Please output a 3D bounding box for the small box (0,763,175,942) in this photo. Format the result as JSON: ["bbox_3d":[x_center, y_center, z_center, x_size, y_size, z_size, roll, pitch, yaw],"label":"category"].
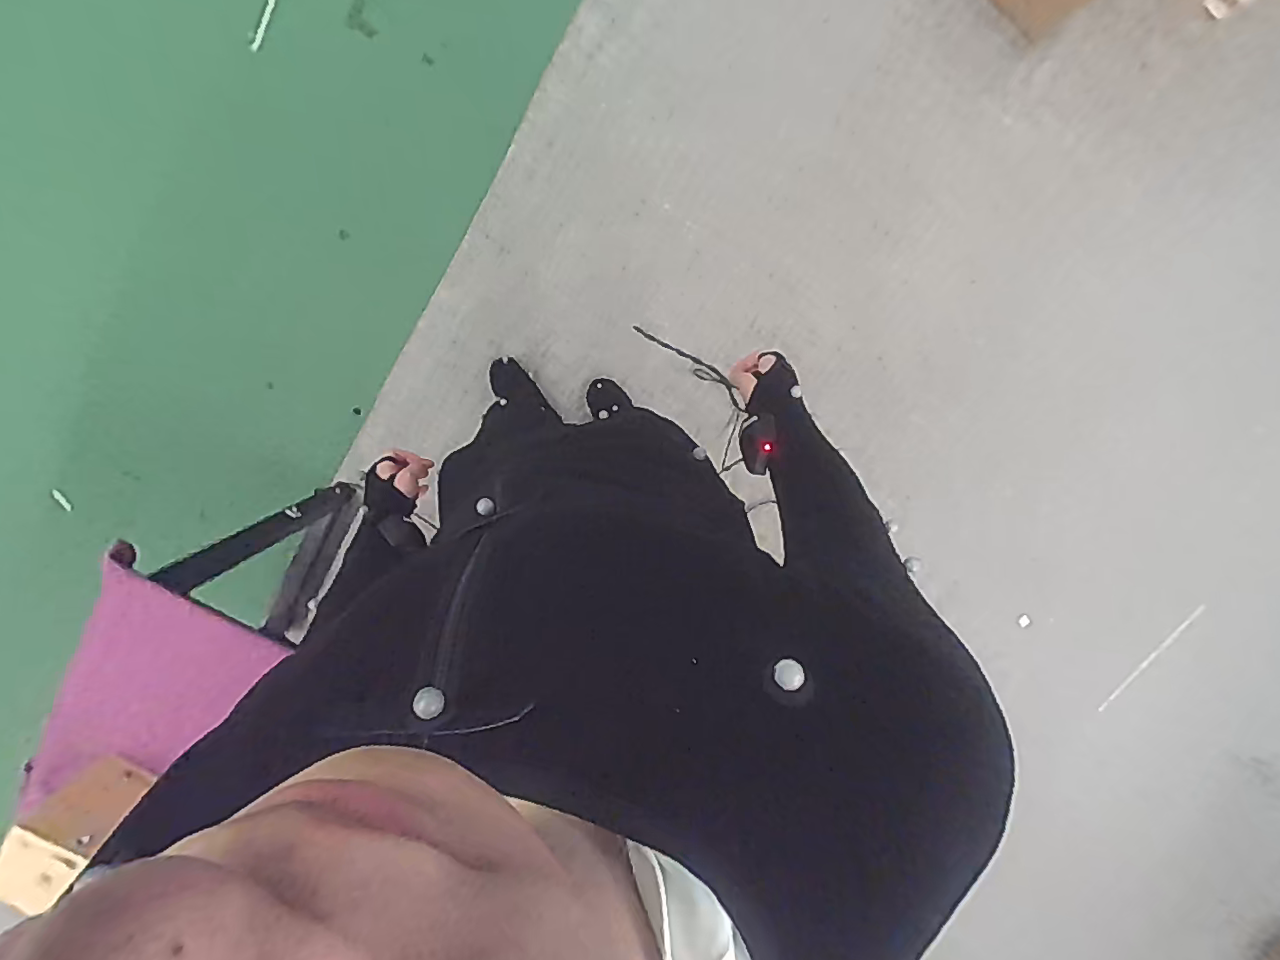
[{"bbox_3d":[-1.008,0.665,0.980,0.168,0.176,0.179,33,103,-9],"label":"small box"}]
